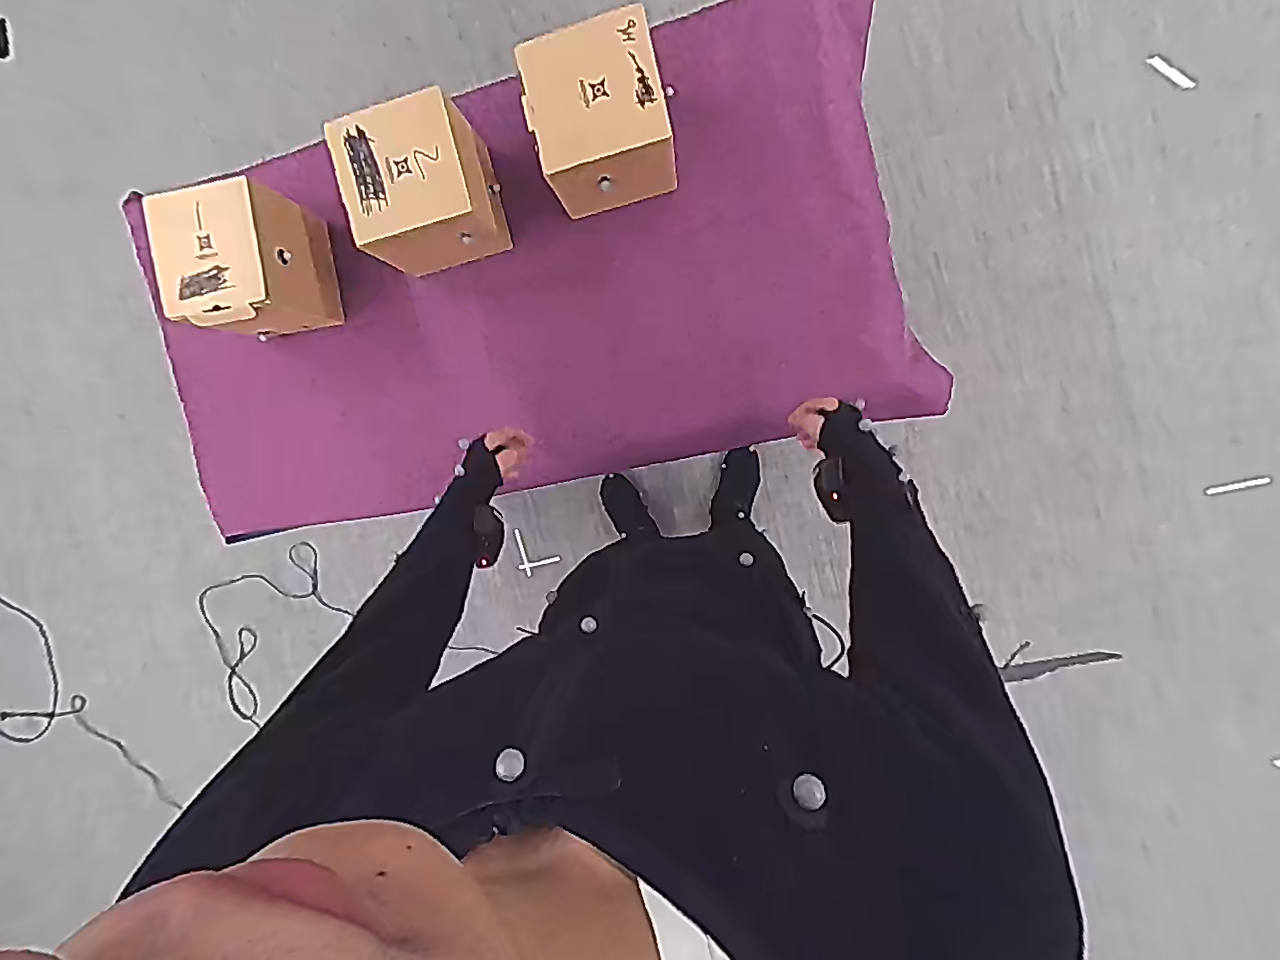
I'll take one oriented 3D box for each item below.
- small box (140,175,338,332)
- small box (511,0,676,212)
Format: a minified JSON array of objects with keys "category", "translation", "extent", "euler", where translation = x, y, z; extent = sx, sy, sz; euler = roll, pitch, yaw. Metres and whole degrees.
[{"category":"small box","translation":[-0.602,-0.333,0.836],"extent":[0.168,0.176,0.179],"euler":[-7,95,6]},{"category":"small box","translation":[-0.054,-0.503,0.758],"extent":[0.179,0.176,0.168],"euler":[-13,97,8]}]
